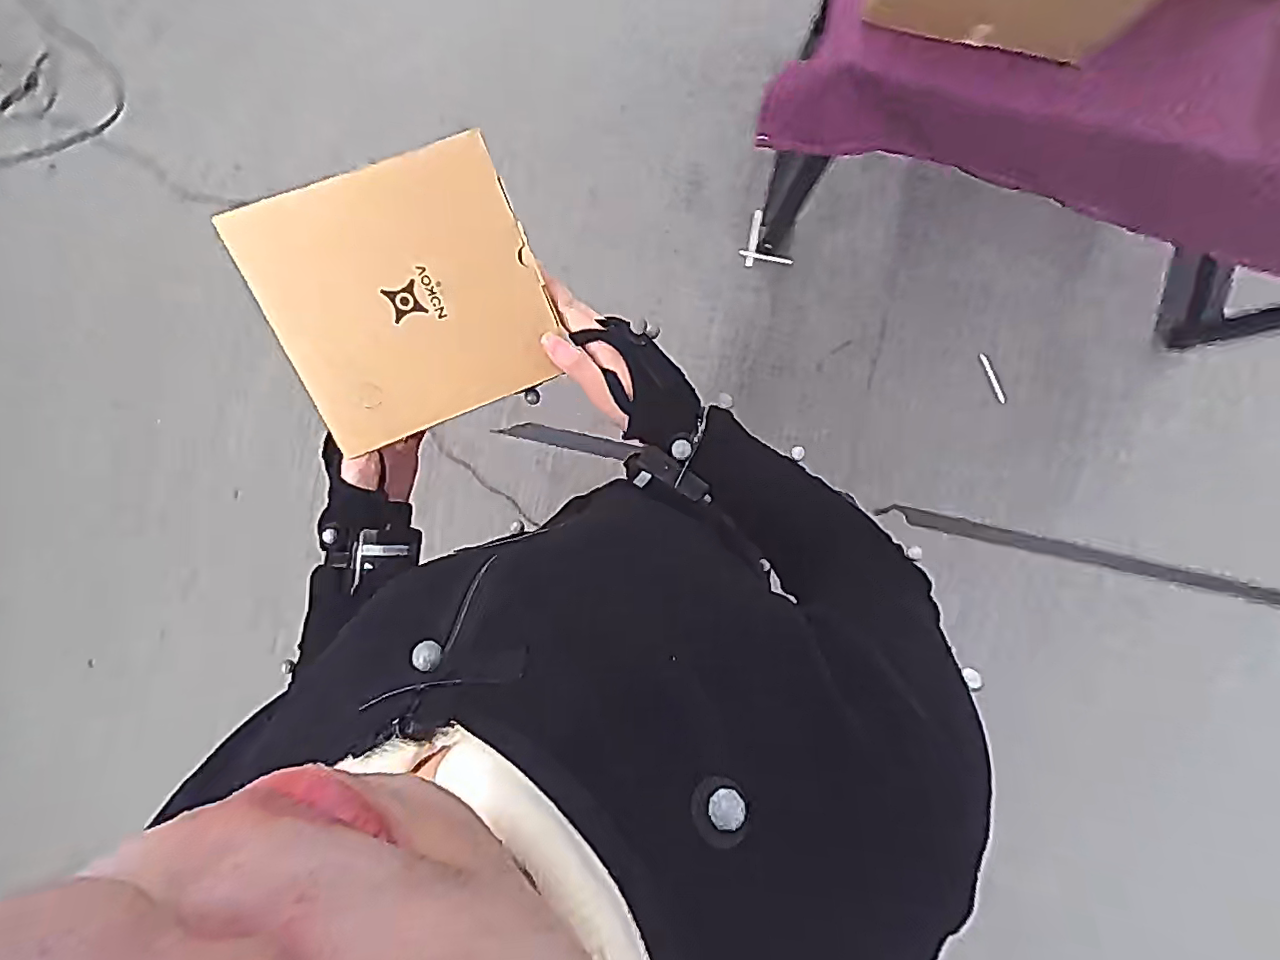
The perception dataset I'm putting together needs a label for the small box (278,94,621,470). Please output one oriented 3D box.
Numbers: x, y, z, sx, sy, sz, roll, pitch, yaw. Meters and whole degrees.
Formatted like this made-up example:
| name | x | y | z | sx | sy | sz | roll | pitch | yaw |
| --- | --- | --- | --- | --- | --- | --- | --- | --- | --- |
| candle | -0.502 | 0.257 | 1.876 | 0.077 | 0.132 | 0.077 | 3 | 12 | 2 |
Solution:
| name | x | y | z | sx | sy | sz | roll | pitch | yaw |
| --- | --- | --- | --- | --- | --- | --- | --- | --- | --- |
| small box | -0.133 | -0.133 | 0.403 | 0.168 | 0.176 | 0.179 | -29 | 90 | -25 |
